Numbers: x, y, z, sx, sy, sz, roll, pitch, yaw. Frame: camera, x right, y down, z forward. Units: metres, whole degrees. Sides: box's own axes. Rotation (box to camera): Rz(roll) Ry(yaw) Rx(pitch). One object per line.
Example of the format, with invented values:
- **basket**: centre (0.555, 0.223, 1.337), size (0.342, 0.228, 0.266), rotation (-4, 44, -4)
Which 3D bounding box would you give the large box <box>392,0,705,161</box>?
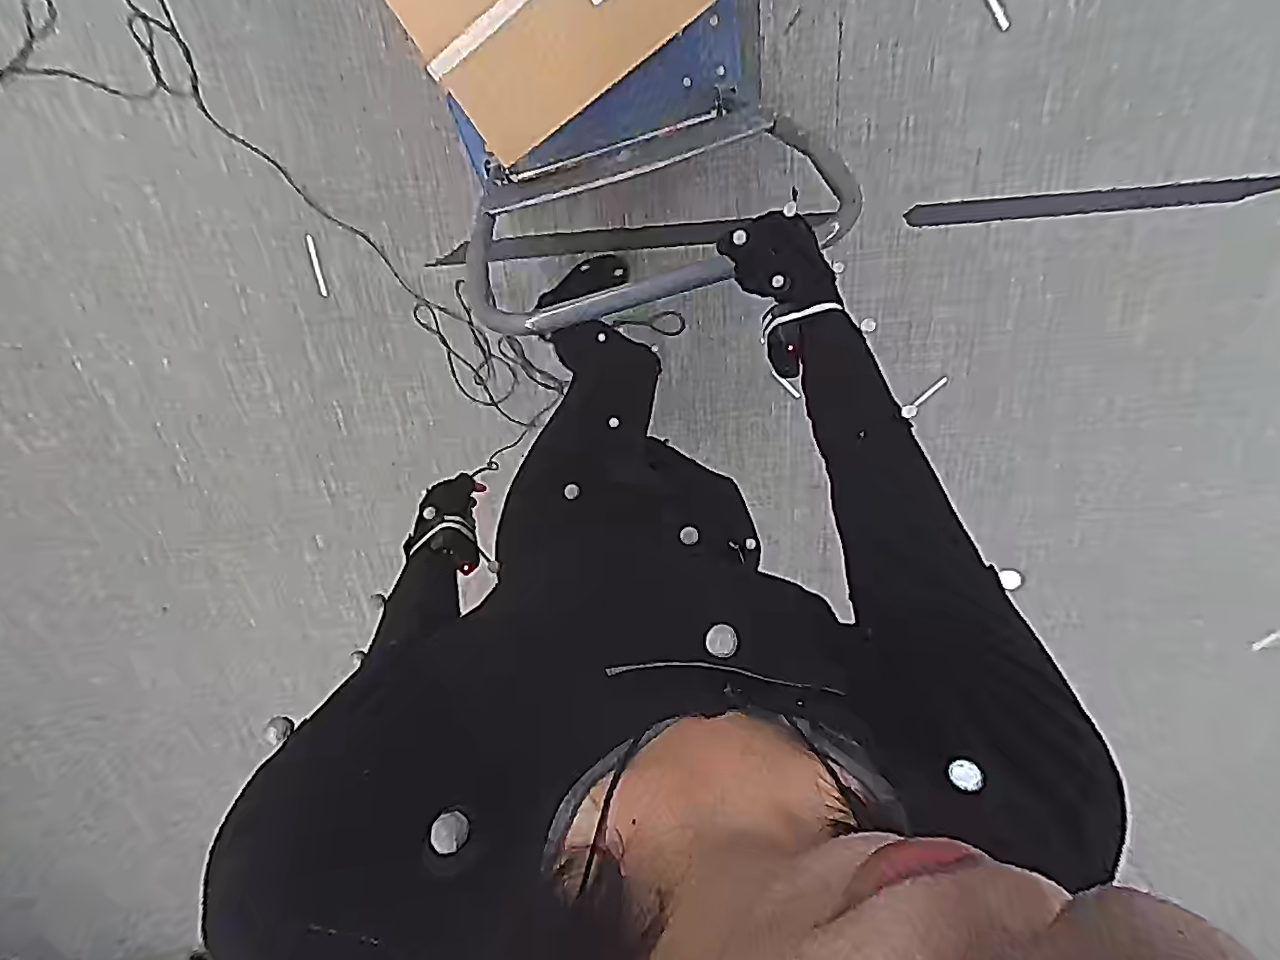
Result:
- **large box**: centre (-0.149, -0.794, 0.857), size (0.408, 0.320, 0.320), rotation (-31, 127, 14)
